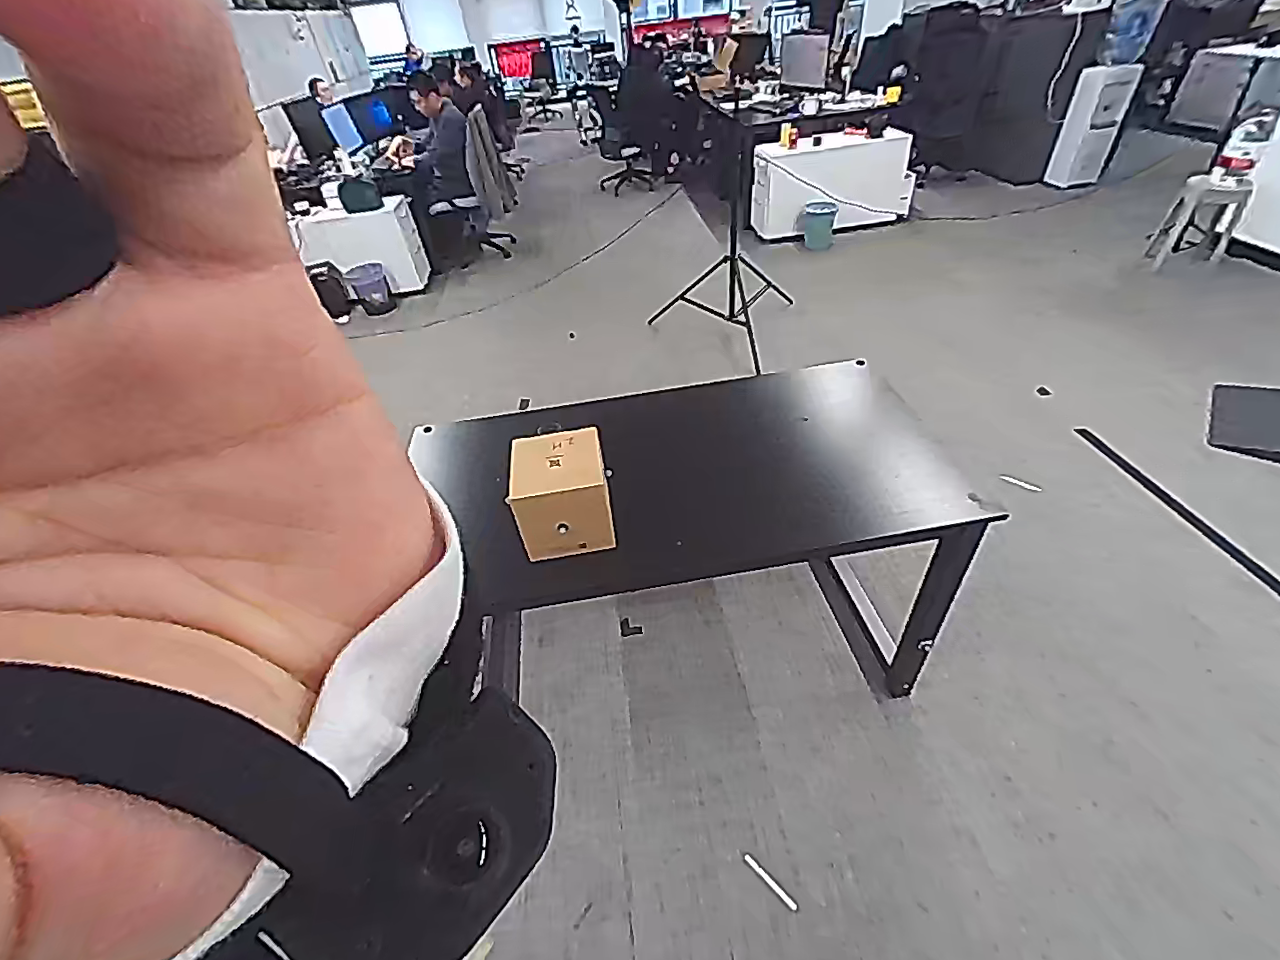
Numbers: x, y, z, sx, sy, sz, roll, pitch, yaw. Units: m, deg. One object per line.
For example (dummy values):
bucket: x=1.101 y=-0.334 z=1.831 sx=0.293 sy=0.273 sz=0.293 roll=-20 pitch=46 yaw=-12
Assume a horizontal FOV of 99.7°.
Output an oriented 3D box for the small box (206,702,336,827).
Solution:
small box: x=-0.872 y=0.679 z=1.287 sx=0.168 sy=0.176 sz=0.179 roll=29 pitch=53 yaw=34

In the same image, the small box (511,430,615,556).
small box: x=-0.145 y=0.031 z=1.051 sx=0.168 sy=0.176 sz=0.179 roll=-9 pitch=41 yaw=-2

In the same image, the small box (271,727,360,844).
small box: x=-0.862 y=0.795 z=1.406 sx=0.168 sy=0.176 sz=0.179 roll=27 pitch=51 yaw=33
